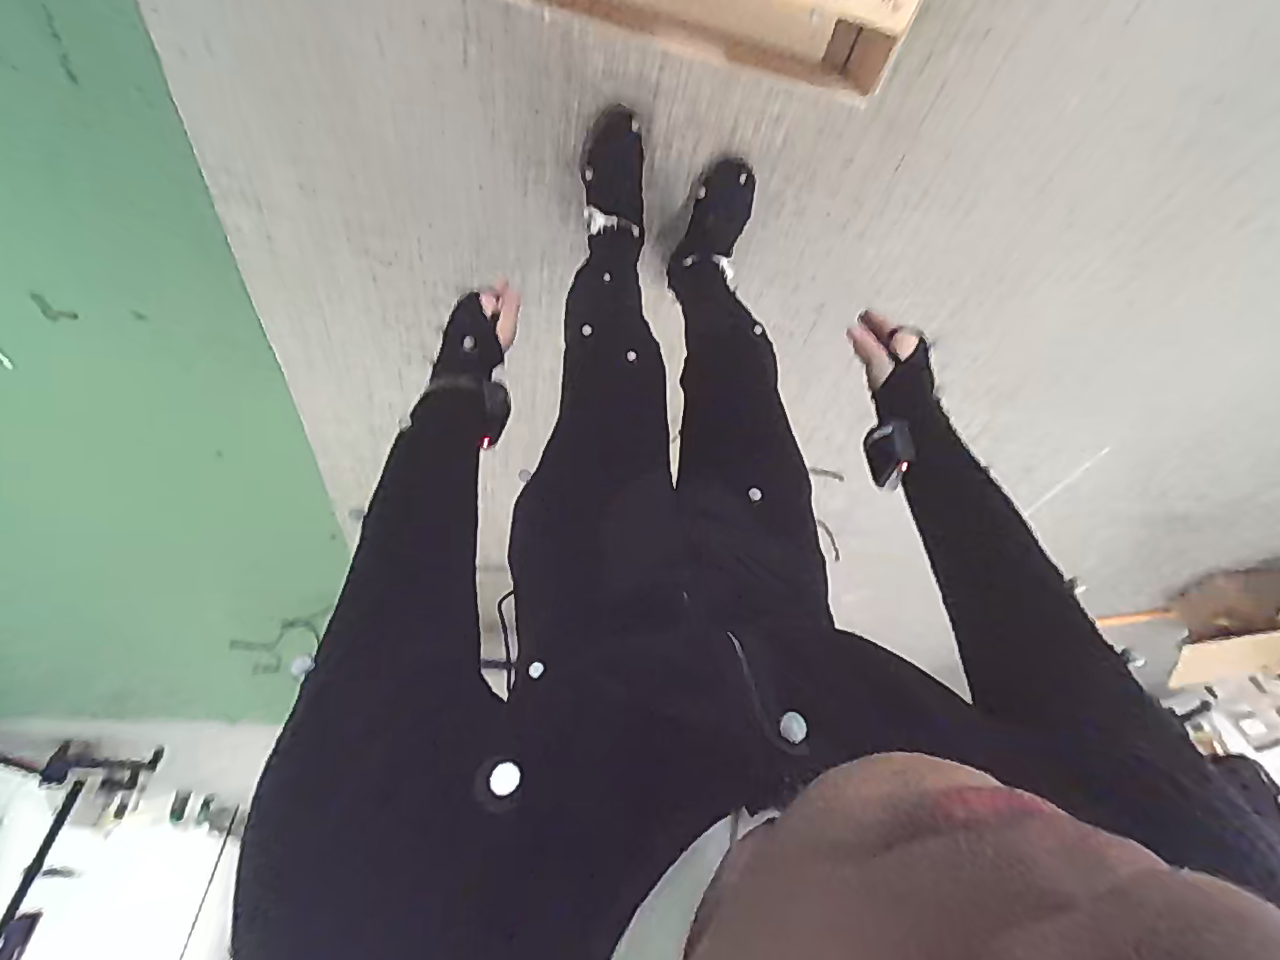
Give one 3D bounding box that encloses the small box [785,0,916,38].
[{"bbox_3d":[0.235,-0.632,0.593,0.168,0.176,0.179,9,138,-10],"label":"small box"}]
